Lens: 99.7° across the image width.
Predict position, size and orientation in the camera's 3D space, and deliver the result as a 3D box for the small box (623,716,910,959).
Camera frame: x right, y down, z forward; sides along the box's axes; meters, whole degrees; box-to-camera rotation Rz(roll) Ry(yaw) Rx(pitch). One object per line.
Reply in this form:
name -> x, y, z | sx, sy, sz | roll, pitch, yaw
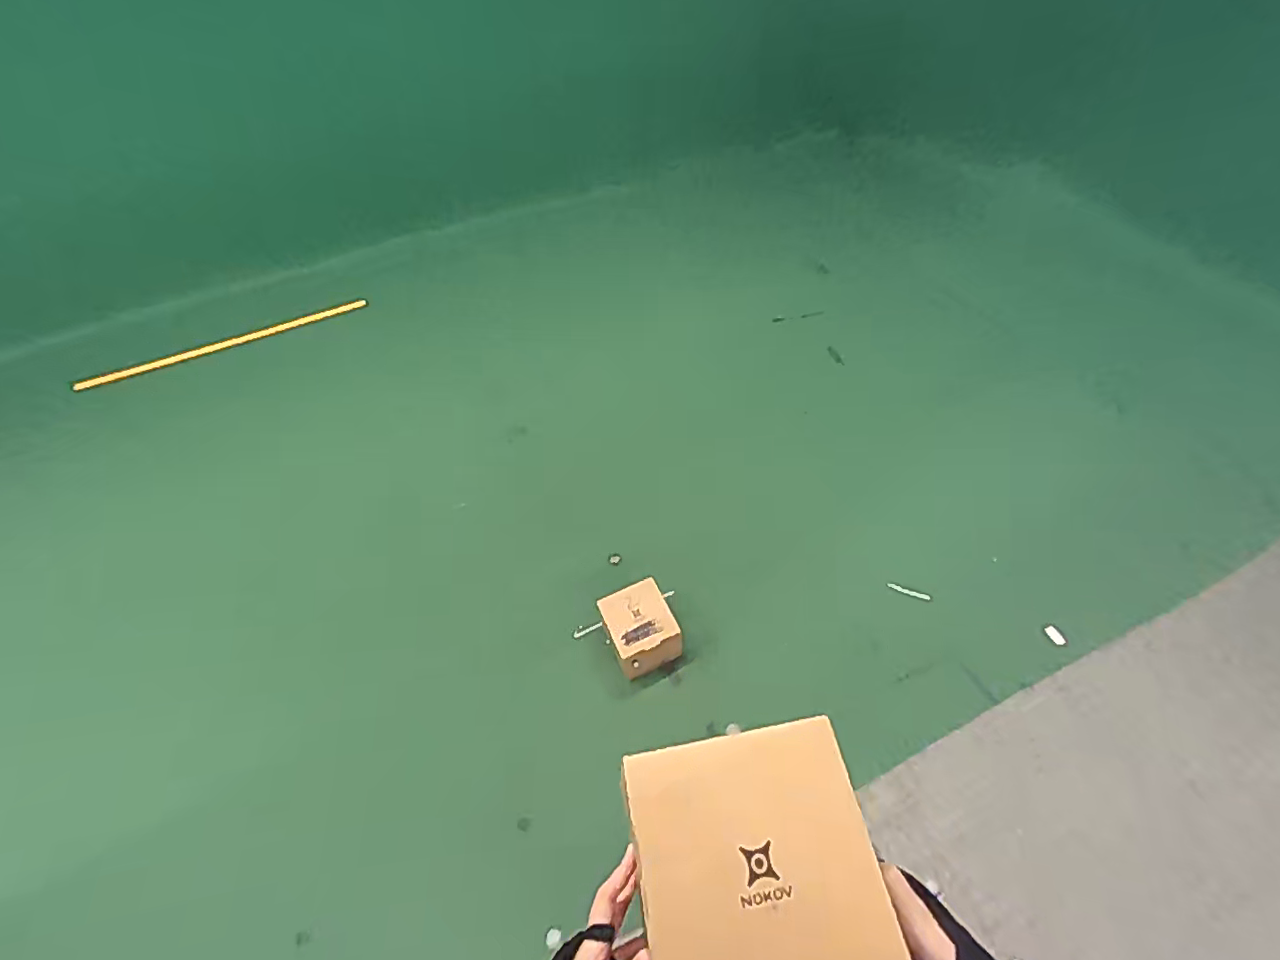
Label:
small box -> 0.080, 0.315, 0.441 | 0.168, 0.176, 0.179 | -11, 58, -7
